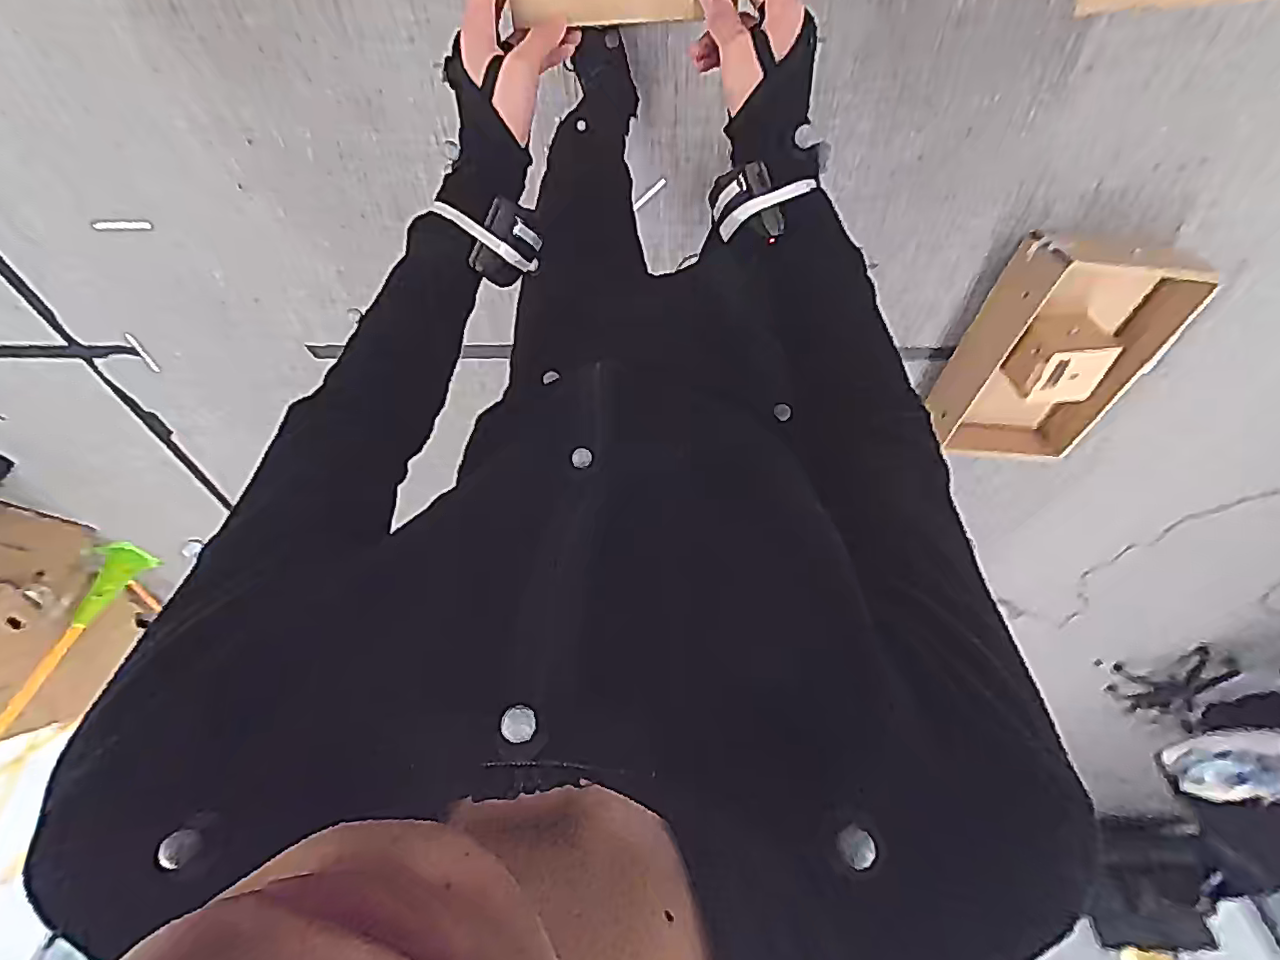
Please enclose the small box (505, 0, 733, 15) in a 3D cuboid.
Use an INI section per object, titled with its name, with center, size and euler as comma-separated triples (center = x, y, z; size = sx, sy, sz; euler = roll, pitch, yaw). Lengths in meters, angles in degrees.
[small box]
center = -0.020, -0.468, 0.416
size = 0.179, 0.176, 0.168
euler = -4, 133, -1
